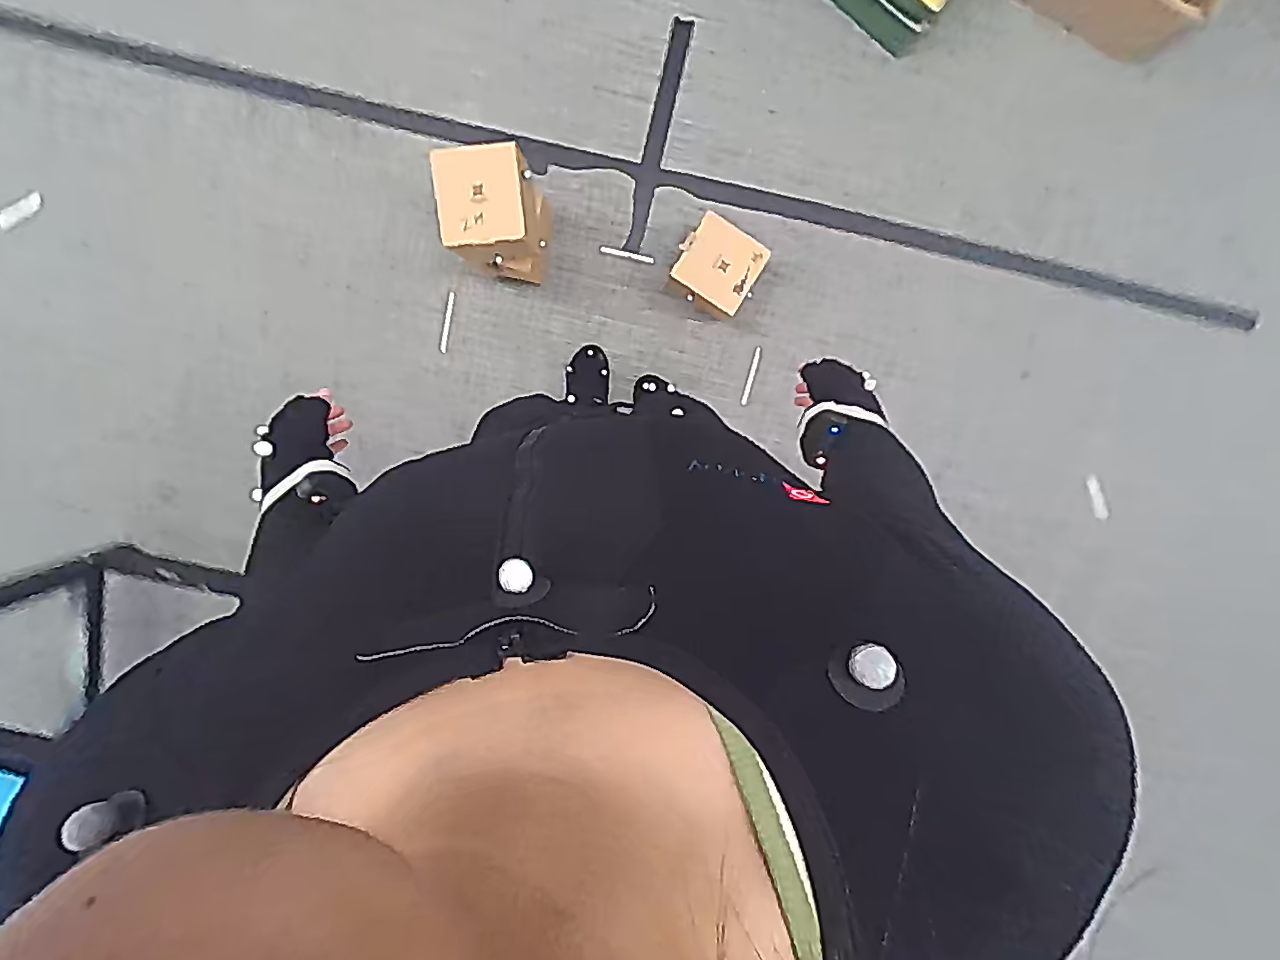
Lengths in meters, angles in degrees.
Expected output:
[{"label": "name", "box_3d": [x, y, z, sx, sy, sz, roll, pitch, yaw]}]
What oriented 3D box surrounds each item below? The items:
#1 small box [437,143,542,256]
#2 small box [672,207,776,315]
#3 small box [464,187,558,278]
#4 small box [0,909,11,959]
[{"label": "small box", "box_3d": [-0.302, -0.569, 1.116, 0.168, 0.176, 0.179, 0, 104, 2]}, {"label": "small box", "box_3d": [0.190, -0.511, 1.294, 0.179, 0.176, 0.168, 29, 100, -7]}, {"label": "small box", "box_3d": [-0.298, -0.592, 1.280, 0.168, 0.176, 0.179, 12, 101, -2]}, {"label": "small box", "box_3d": [-1.166, 0.805, 0.853, 0.168, 0.176, 0.179, 13, 102, -2]}]
